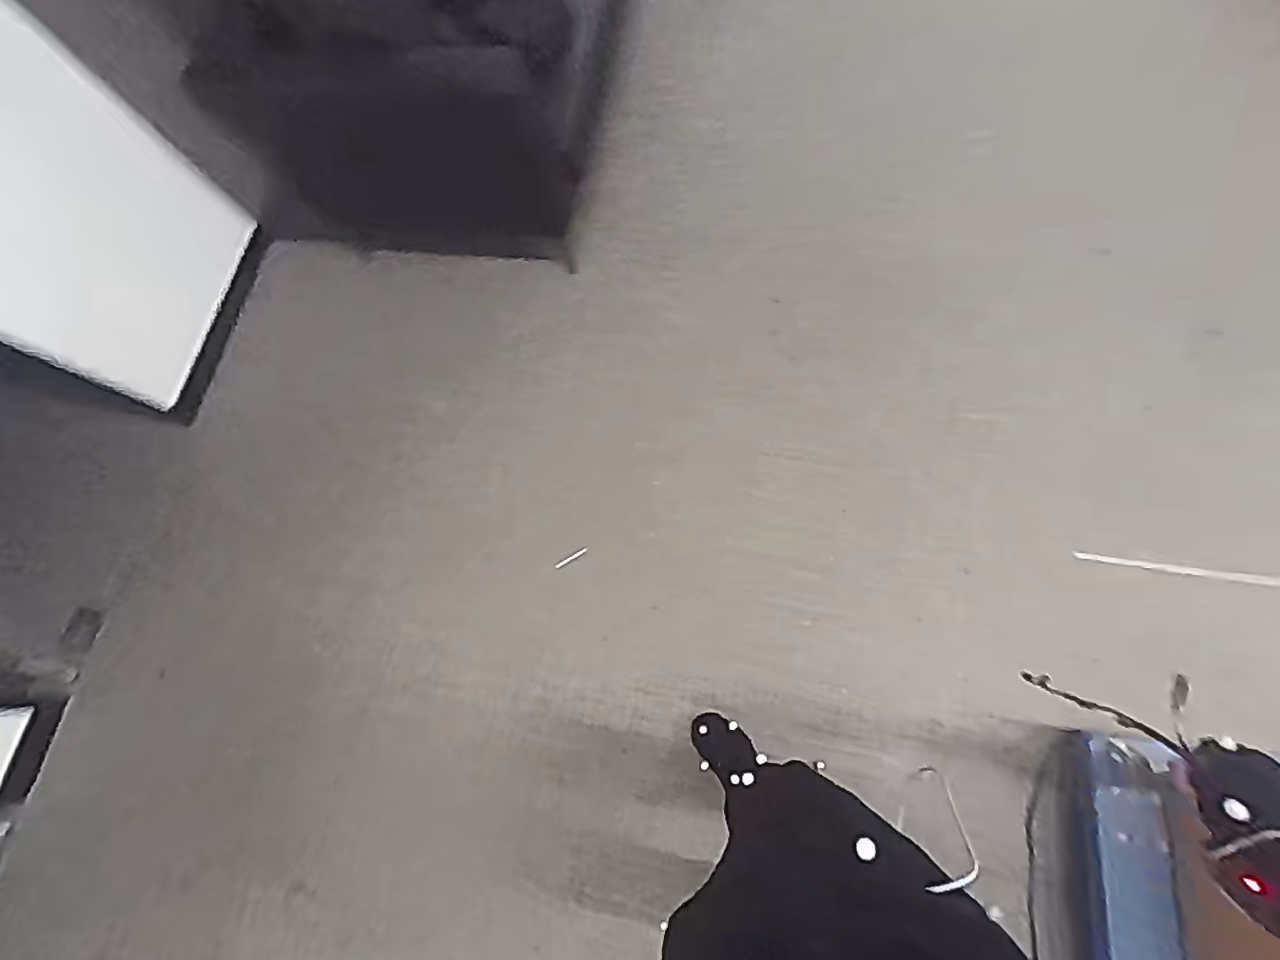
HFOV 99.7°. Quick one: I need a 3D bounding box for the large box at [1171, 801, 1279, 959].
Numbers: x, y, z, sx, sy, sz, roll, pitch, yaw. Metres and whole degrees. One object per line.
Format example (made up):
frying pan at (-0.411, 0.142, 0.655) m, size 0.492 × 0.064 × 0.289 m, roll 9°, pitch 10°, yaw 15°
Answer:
large box at (1.137, 0.775, 0.833) m, size 0.320 × 0.320 × 0.408 m, roll 4°, pitch 74°, yaw 11°
